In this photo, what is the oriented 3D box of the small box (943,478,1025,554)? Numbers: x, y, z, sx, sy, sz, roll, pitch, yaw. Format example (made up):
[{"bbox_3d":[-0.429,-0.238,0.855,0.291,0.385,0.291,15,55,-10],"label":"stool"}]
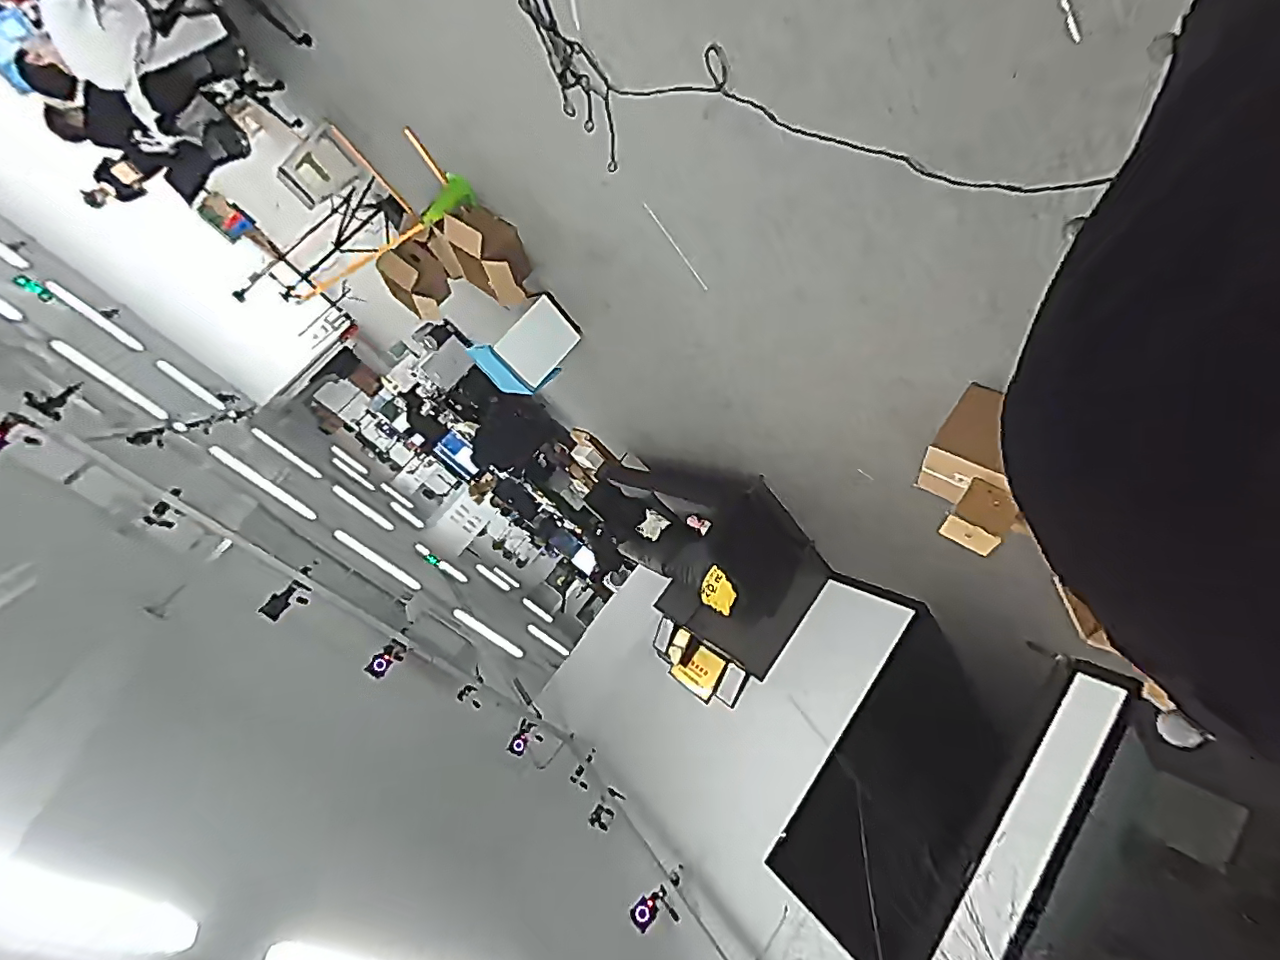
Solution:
[{"bbox_3d":[1.189,0.124,1.869,0.168,0.176,0.179,33,167,27],"label":"small box"}]

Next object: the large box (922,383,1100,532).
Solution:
[{"bbox_3d":[1.303,-0.085,1.938,0.408,0.320,0.320,33,166,31],"label":"large box"}]

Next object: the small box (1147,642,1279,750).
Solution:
[{"bbox_3d":[1.434,0.519,1.332,0.168,0.176,0.179,38,166,1],"label":"small box"}]
